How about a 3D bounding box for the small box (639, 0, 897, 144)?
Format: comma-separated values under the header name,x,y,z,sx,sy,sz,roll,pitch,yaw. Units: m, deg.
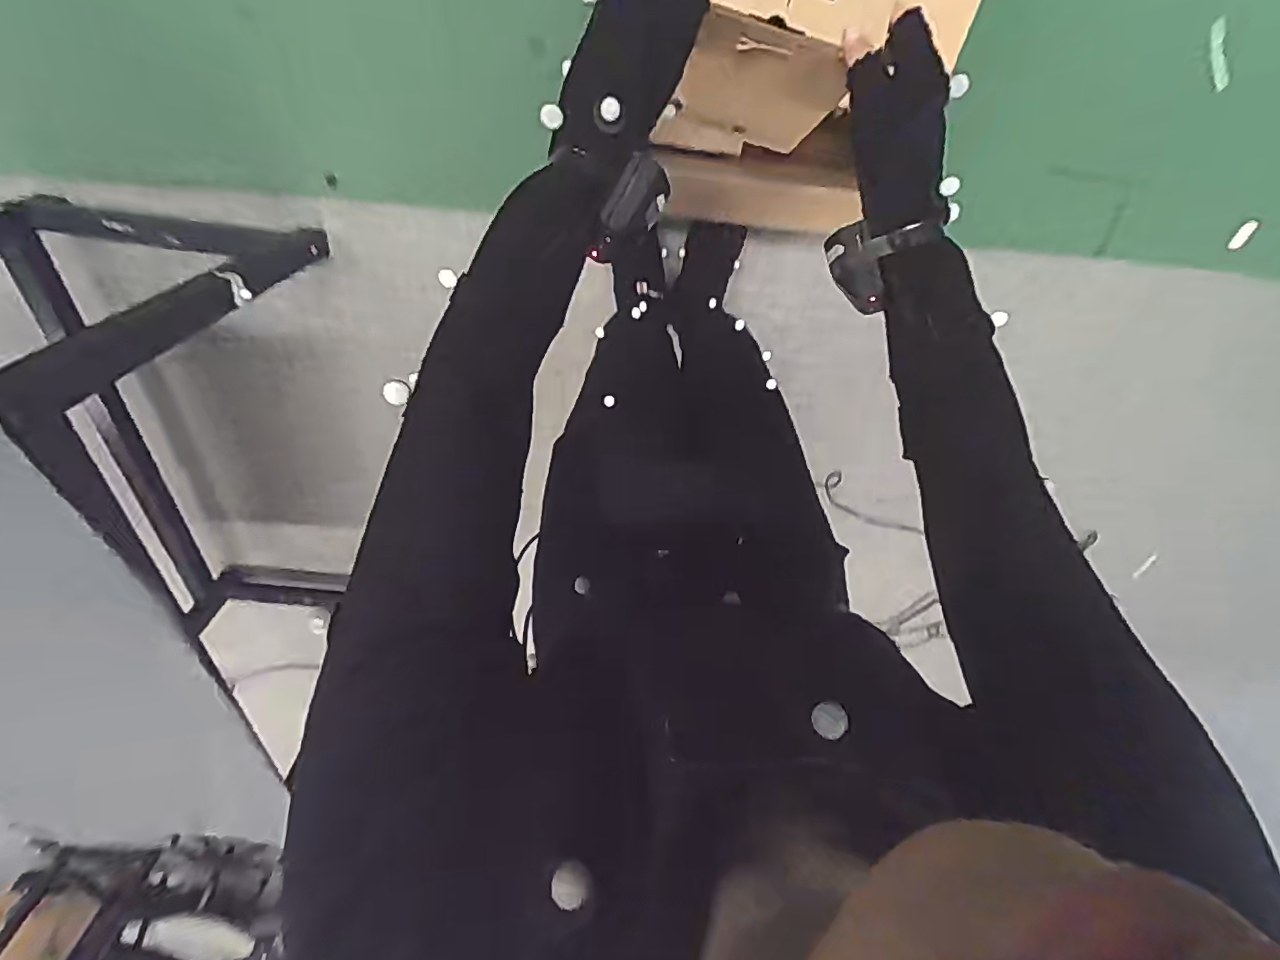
name,x,y,z,sx,sy,sz,roll,pitch,yaw
small box,0.100,-0.409,0.434,0.168,0.176,0.179,10,98,-10
